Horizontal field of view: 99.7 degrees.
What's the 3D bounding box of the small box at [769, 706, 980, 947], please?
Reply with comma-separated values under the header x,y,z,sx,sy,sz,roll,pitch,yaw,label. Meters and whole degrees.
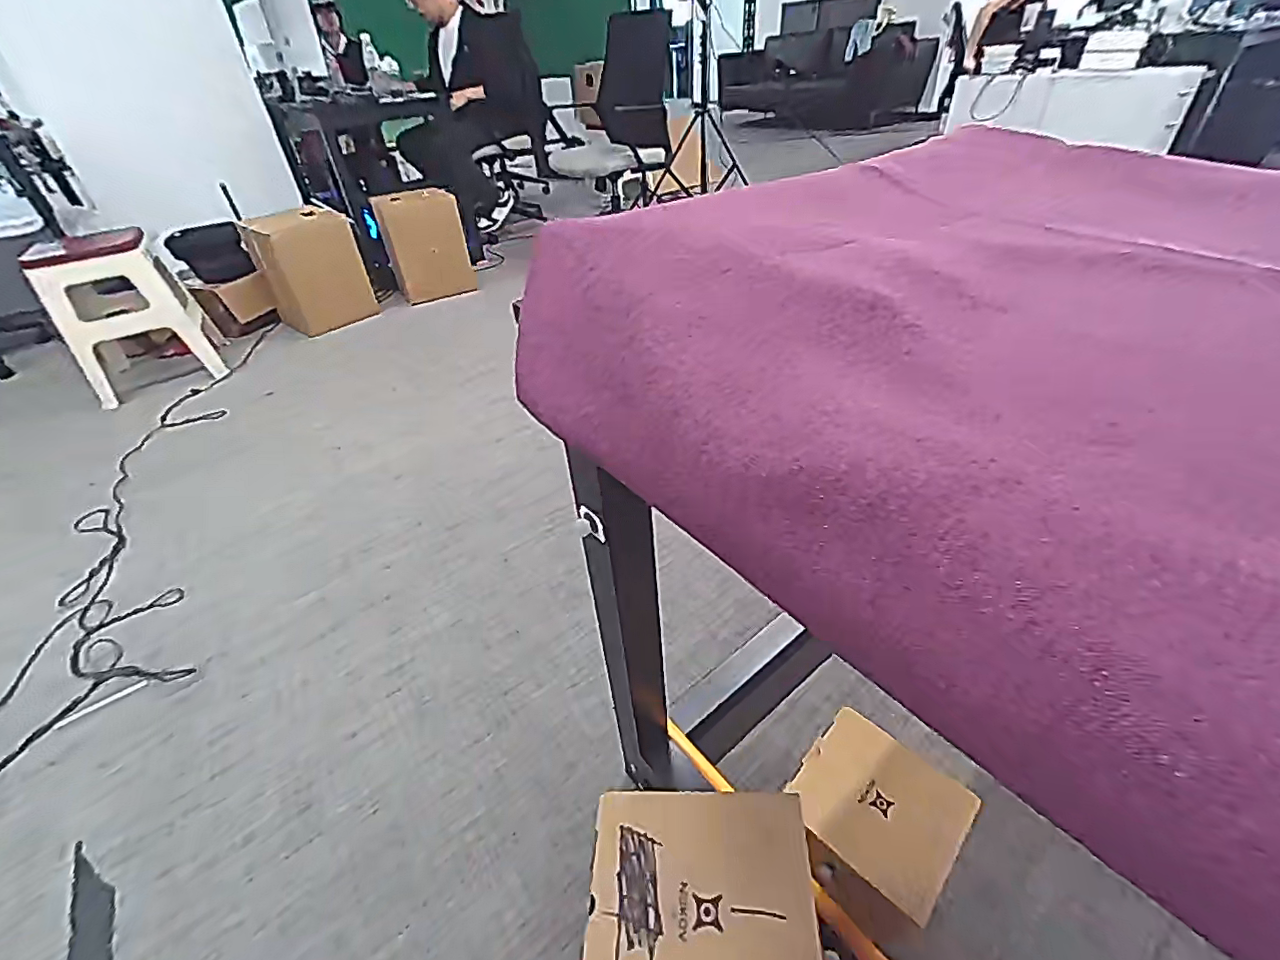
x,y,z,sx,sy,sz,roll,pitch,yaw,label
0.283,0.436,0.681,0.179,0.176,0.168,29,49,35,small box
